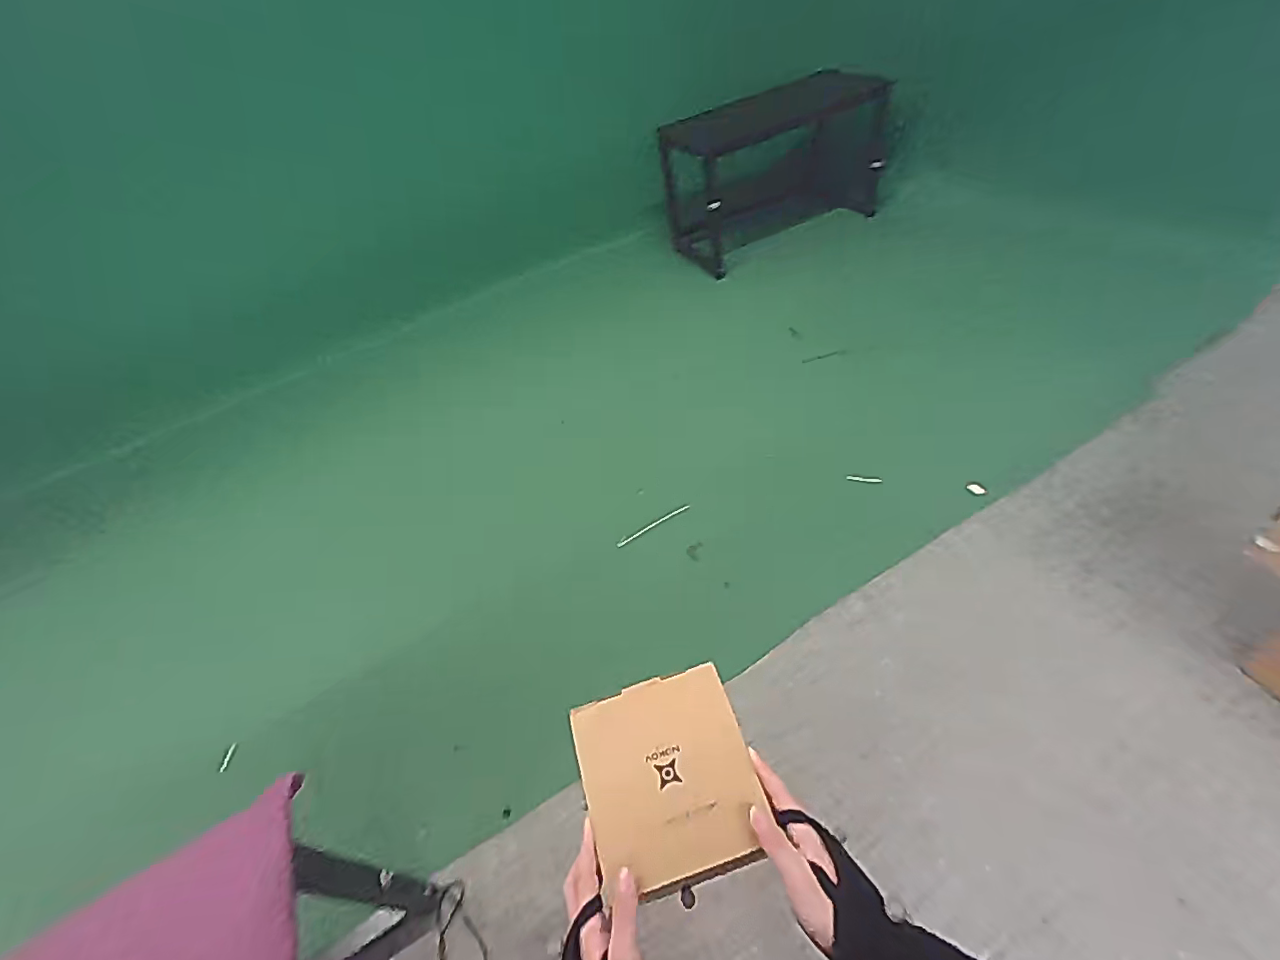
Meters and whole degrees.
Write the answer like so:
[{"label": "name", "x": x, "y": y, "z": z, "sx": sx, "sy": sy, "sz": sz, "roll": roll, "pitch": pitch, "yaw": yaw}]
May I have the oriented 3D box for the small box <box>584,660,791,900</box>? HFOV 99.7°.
[{"label": "small box", "x": 0.046, "y": 0.331, "z": 0.593, "sx": 0.168, "sy": 0.176, "sz": 0.179, "roll": -16, "pitch": 51, "yaw": -5}]
